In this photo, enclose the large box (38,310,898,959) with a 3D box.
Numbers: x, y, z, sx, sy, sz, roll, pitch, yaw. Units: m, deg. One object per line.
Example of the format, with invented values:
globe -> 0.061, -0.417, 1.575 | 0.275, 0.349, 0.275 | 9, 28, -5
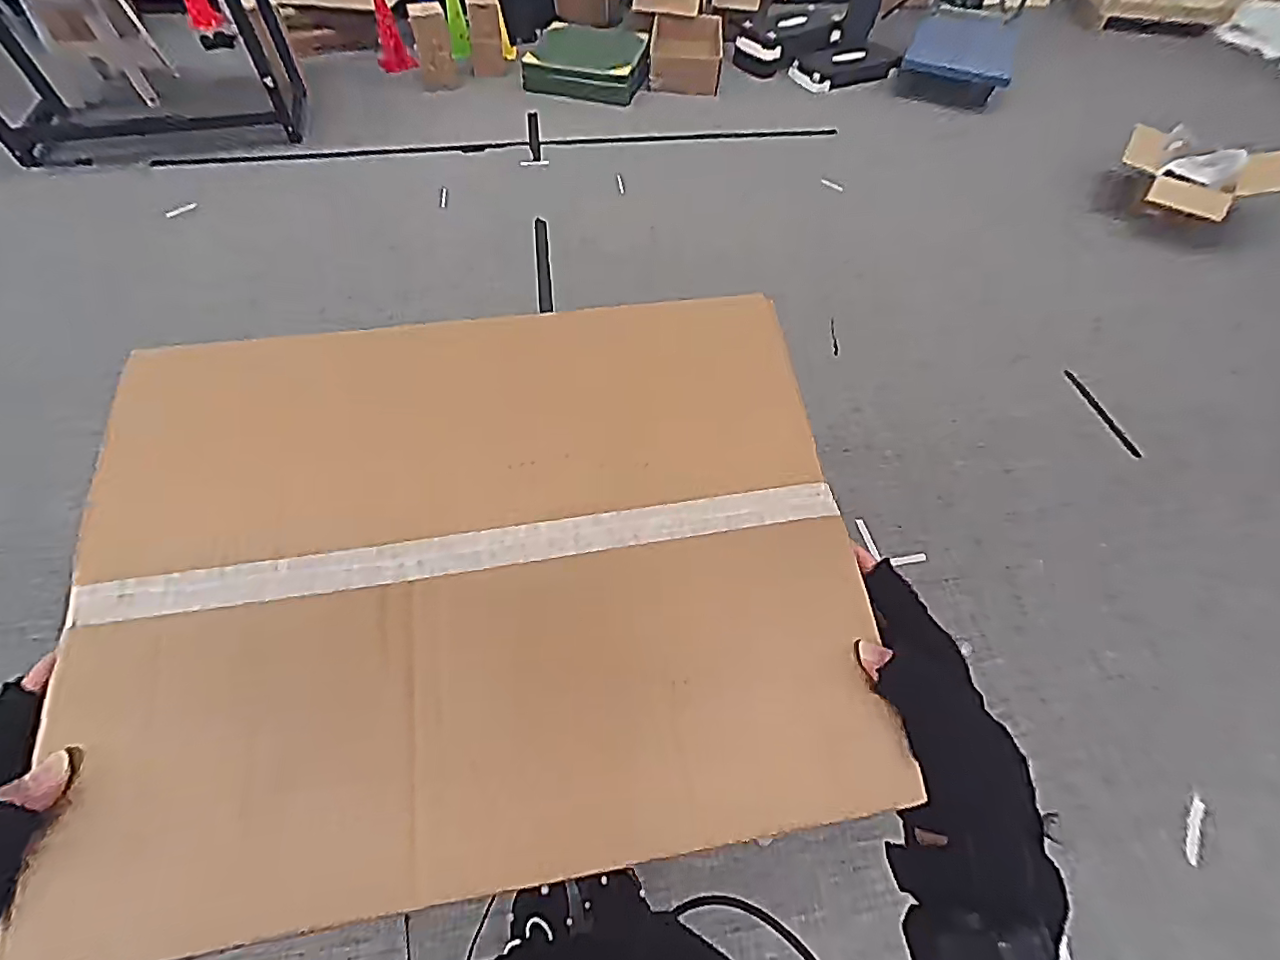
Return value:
large box -> -0.093, 0.102, 0.441 | 0.408, 0.320, 0.320 | -7, 68, -6
